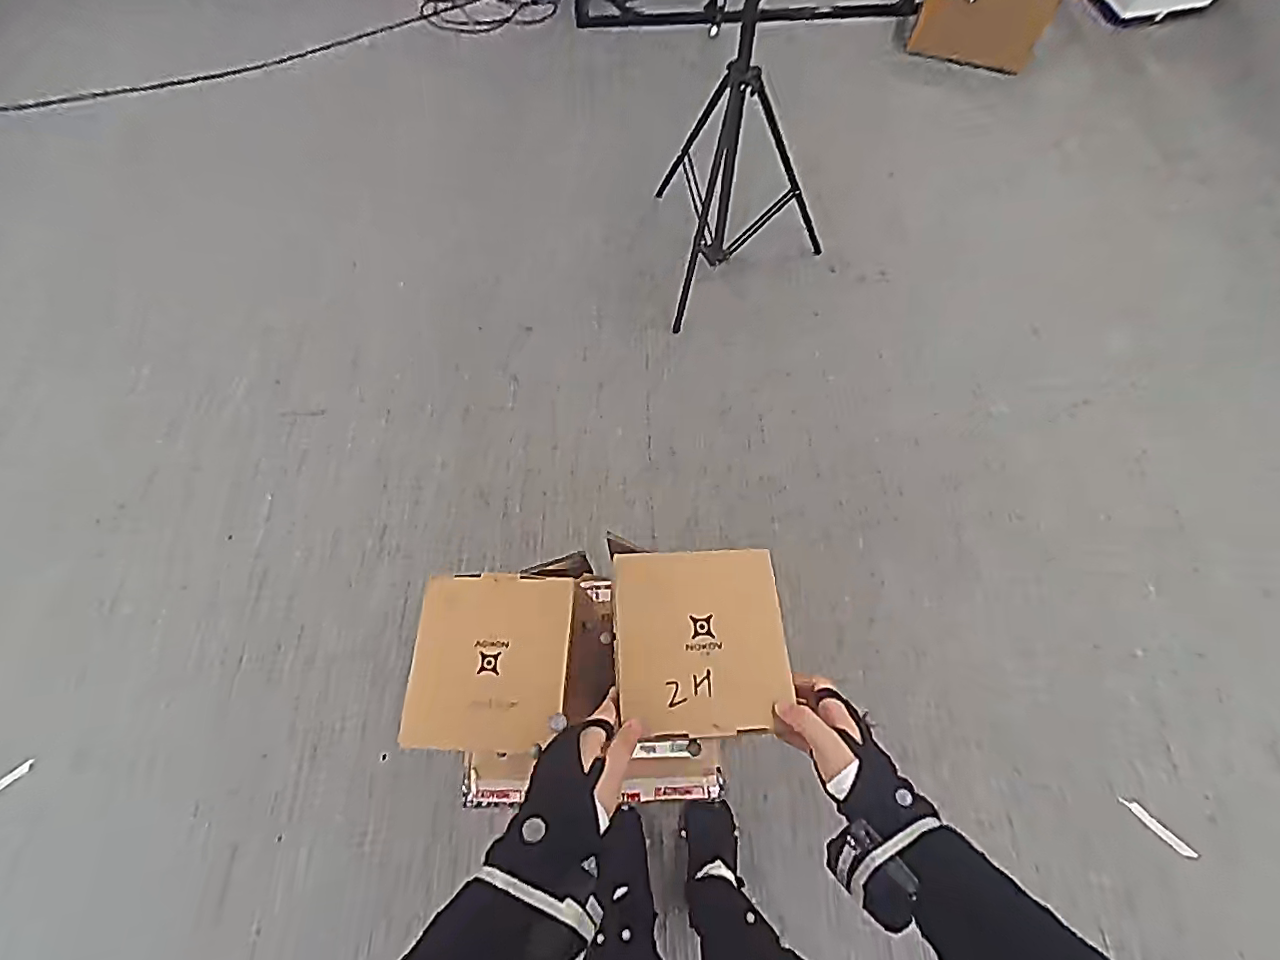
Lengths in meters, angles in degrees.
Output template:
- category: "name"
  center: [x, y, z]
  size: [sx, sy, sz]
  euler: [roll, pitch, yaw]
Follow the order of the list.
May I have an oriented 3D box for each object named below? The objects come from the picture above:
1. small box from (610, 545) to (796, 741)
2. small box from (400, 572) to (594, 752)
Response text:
- category: "small box"
  center: [0.052, 0.184, 0.596]
  size: [0.168, 0.176, 0.179]
  euler: [-2, 63, -5]
- category: "small box"
  center: [-0.149, 0.211, 0.634]
  size: [0.168, 0.176, 0.179]
  euler: [0, 70, 5]
